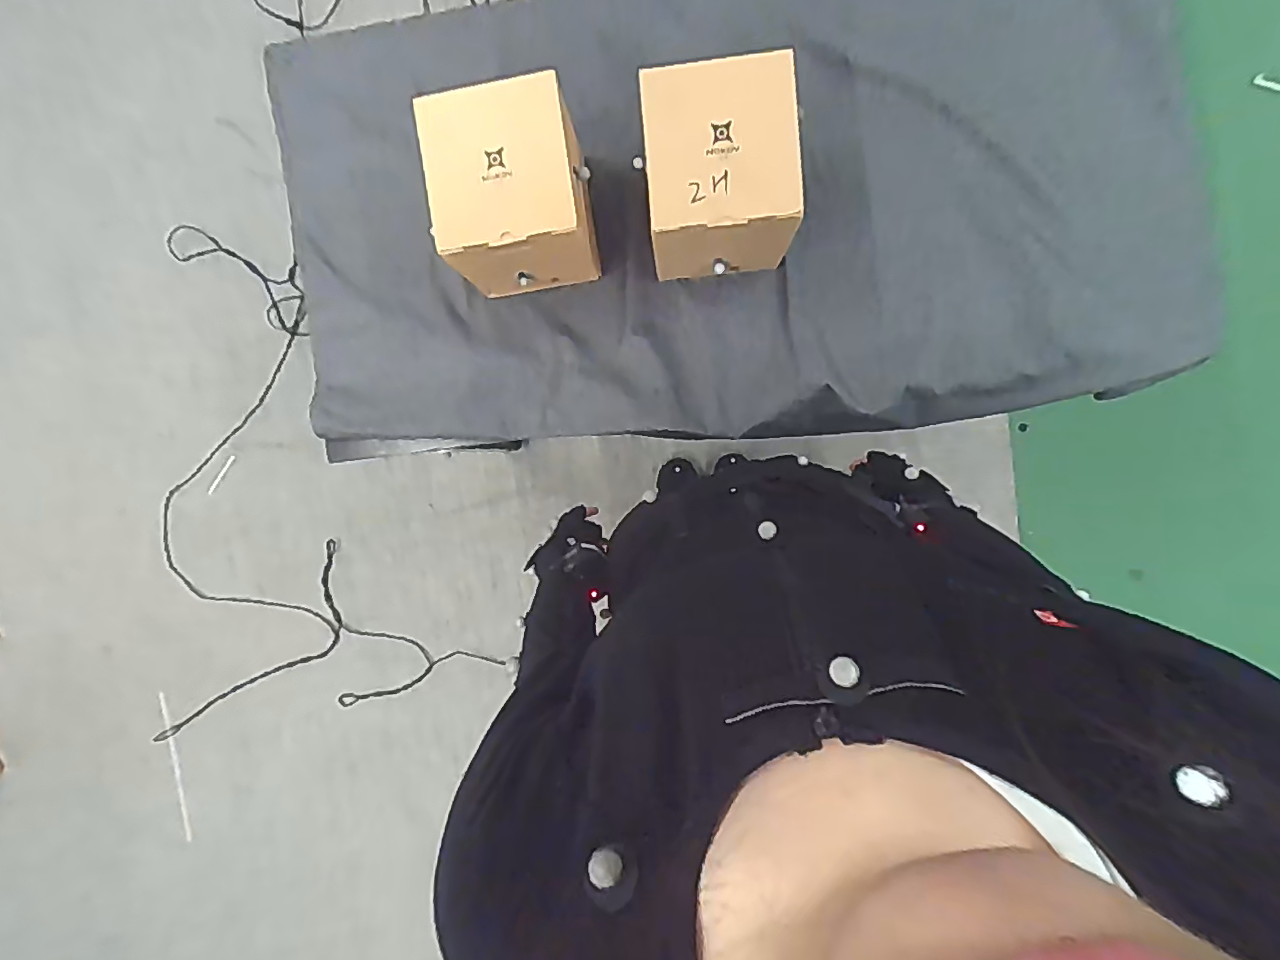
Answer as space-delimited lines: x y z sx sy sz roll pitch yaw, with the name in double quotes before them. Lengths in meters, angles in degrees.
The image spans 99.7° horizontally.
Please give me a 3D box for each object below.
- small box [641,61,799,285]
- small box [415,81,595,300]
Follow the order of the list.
"small box" 0.090 -0.359 0.662 0.168 0.176 0.179 -4 92 4
"small box" -0.157 -0.348 0.683 0.168 0.176 0.179 -8 92 4
